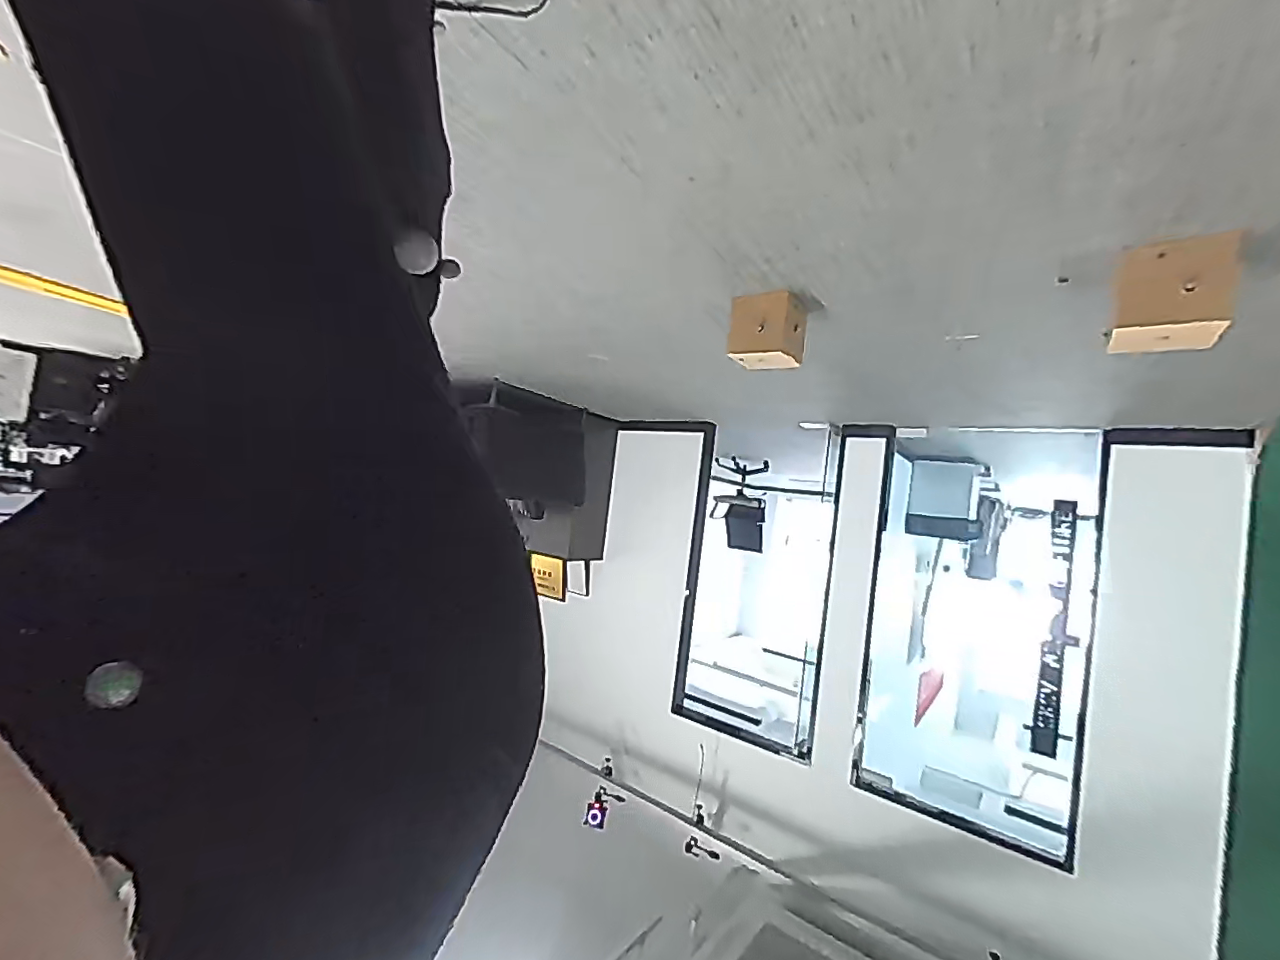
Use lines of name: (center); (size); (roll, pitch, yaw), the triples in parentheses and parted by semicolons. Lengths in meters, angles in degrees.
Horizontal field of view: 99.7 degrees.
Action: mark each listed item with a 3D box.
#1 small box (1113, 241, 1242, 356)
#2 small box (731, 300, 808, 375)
small box: (1.073, -0.364, 1.090); (0.168, 0.176, 0.179); (4, 177, 37)
small box: (0.385, -0.417, 1.589); (0.179, 0.176, 0.168); (4, 176, 36)
